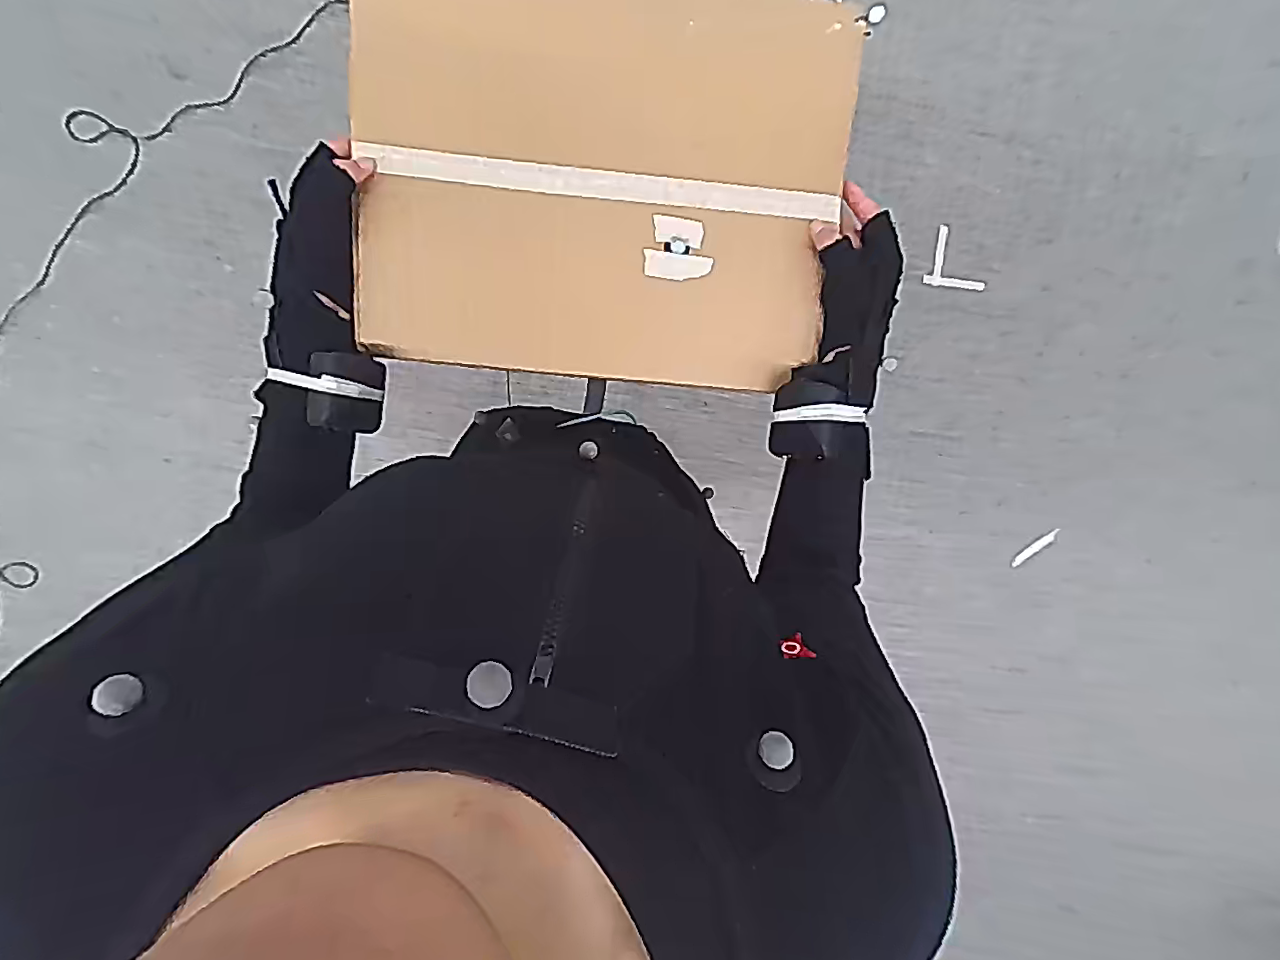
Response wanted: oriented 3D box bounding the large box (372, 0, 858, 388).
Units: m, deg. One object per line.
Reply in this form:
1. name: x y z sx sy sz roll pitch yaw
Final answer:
1. large box: -0.035 -0.277 0.611 0.408 0.320 0.320 4 102 -5
